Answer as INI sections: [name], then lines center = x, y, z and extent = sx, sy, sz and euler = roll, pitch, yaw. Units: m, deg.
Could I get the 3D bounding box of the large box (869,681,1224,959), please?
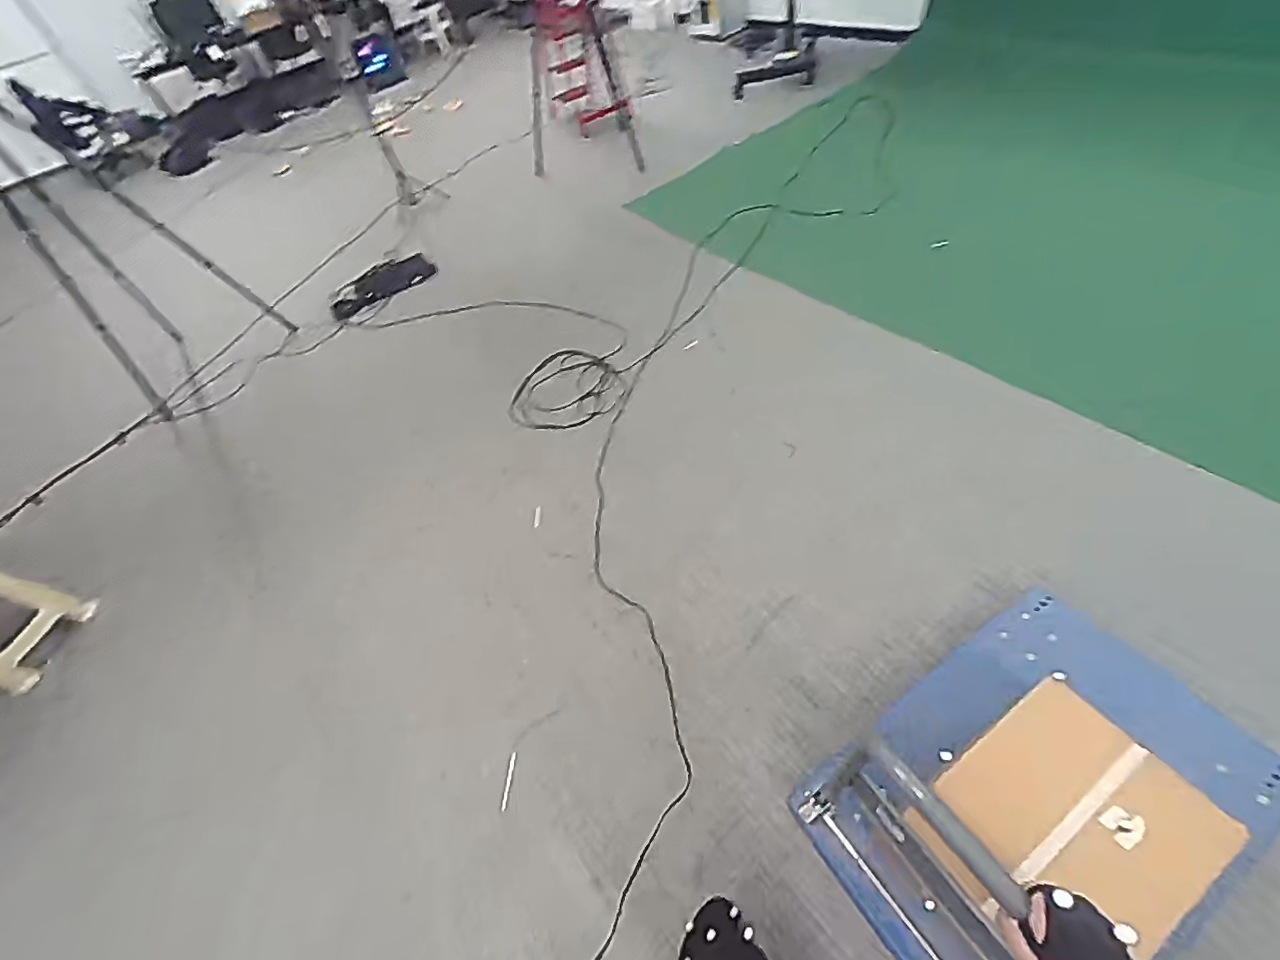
[large box]
center = 0.698, 0.665, 0.998
extent = 0.408, 0.320, 0.320
euler = -33, 53, -14
